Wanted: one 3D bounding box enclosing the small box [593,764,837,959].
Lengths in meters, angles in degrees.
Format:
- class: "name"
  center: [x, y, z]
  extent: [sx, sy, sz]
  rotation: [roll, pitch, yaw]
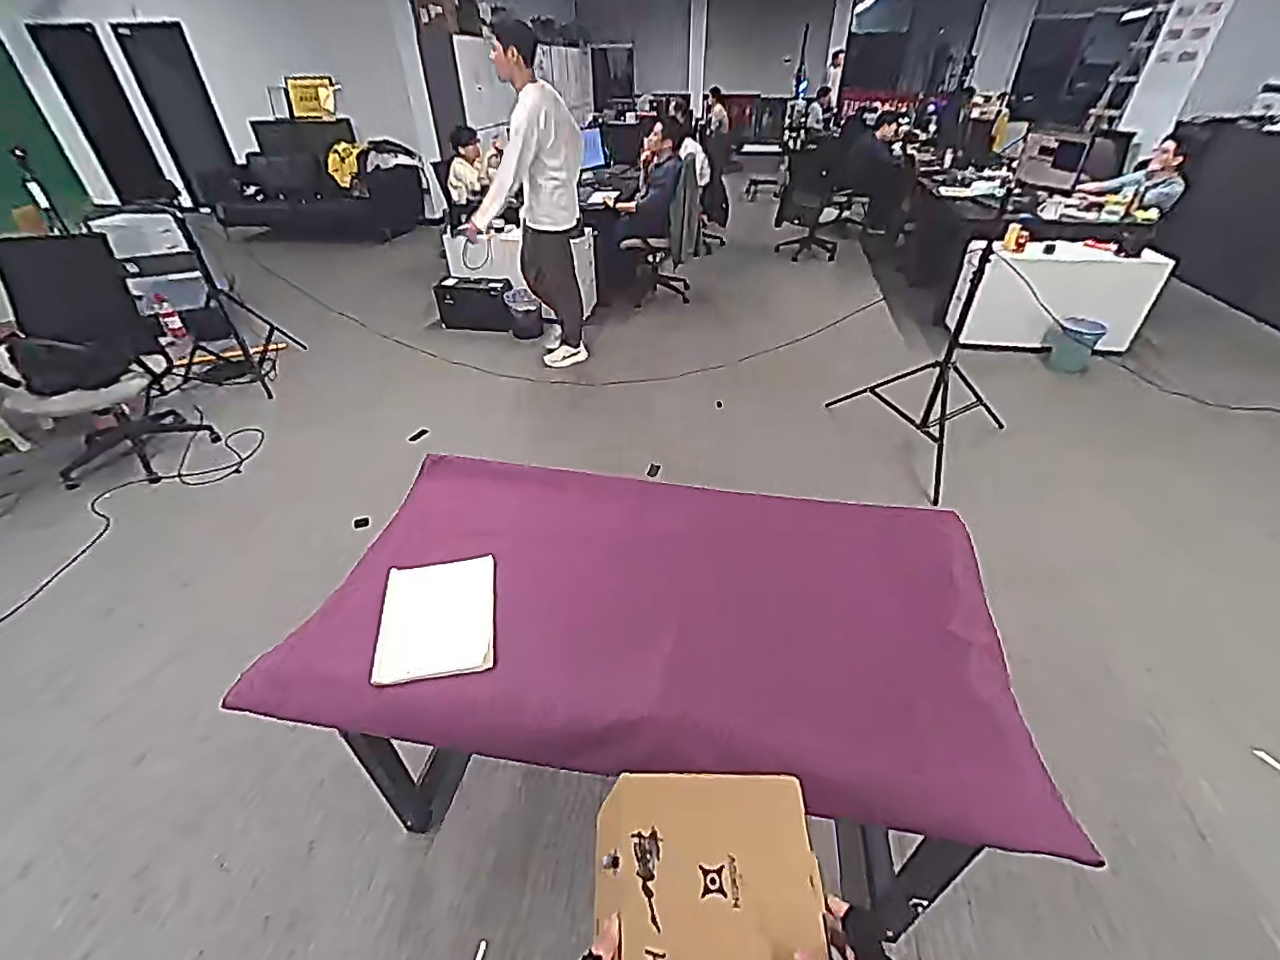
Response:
- class: "small box"
  center: [0.055, 0.381, 0.510]
  extent: [0.179, 0.176, 0.168]
  rotation: [6, 48, -9]
